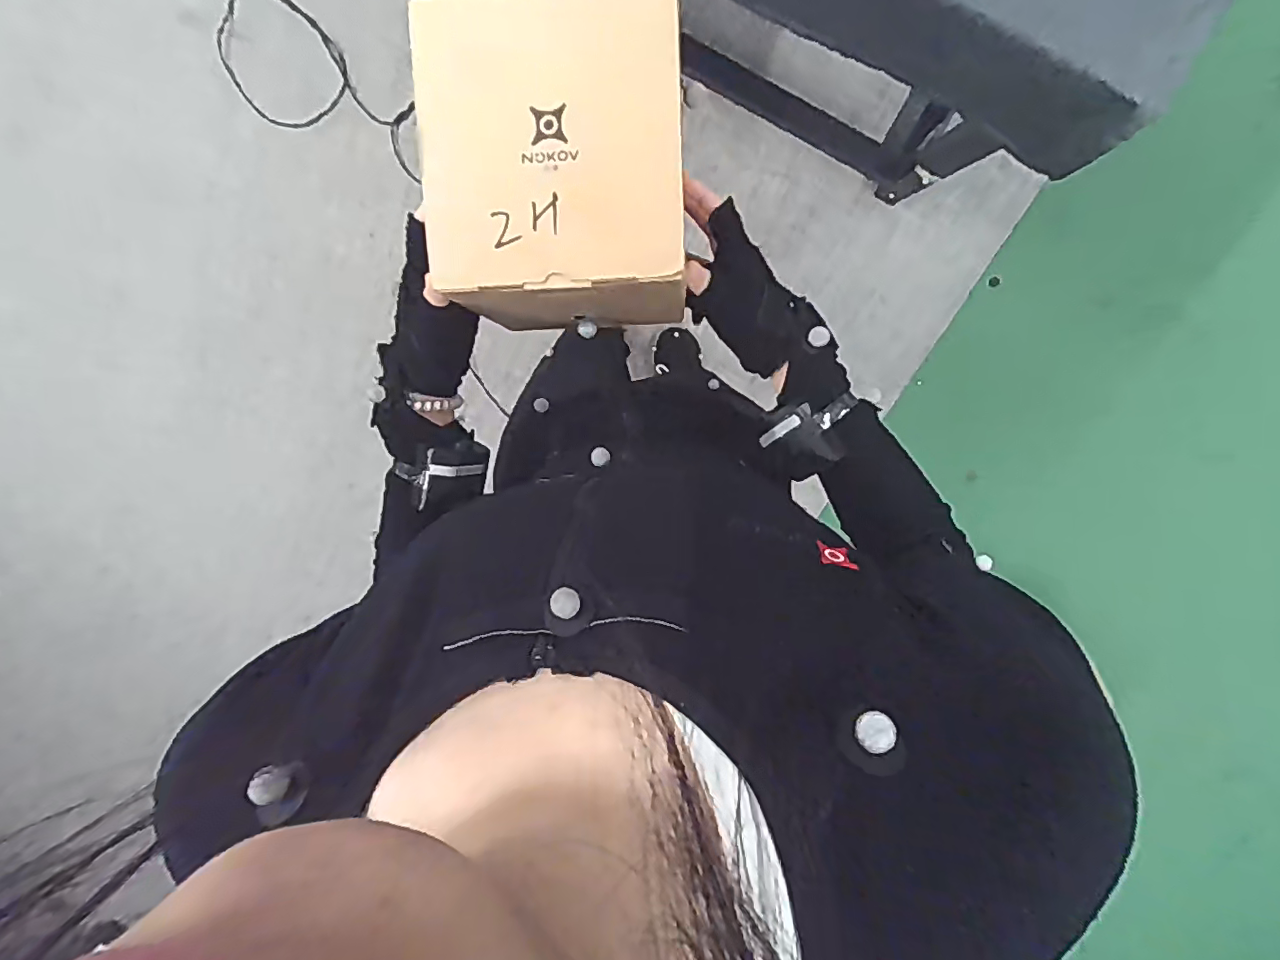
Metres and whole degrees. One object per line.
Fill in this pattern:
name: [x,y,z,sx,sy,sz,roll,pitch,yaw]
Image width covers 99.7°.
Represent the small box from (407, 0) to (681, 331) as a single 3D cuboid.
small box: [-0.054,-0.218,0.411,0.168,0.176,0.179,-1,97,5]
